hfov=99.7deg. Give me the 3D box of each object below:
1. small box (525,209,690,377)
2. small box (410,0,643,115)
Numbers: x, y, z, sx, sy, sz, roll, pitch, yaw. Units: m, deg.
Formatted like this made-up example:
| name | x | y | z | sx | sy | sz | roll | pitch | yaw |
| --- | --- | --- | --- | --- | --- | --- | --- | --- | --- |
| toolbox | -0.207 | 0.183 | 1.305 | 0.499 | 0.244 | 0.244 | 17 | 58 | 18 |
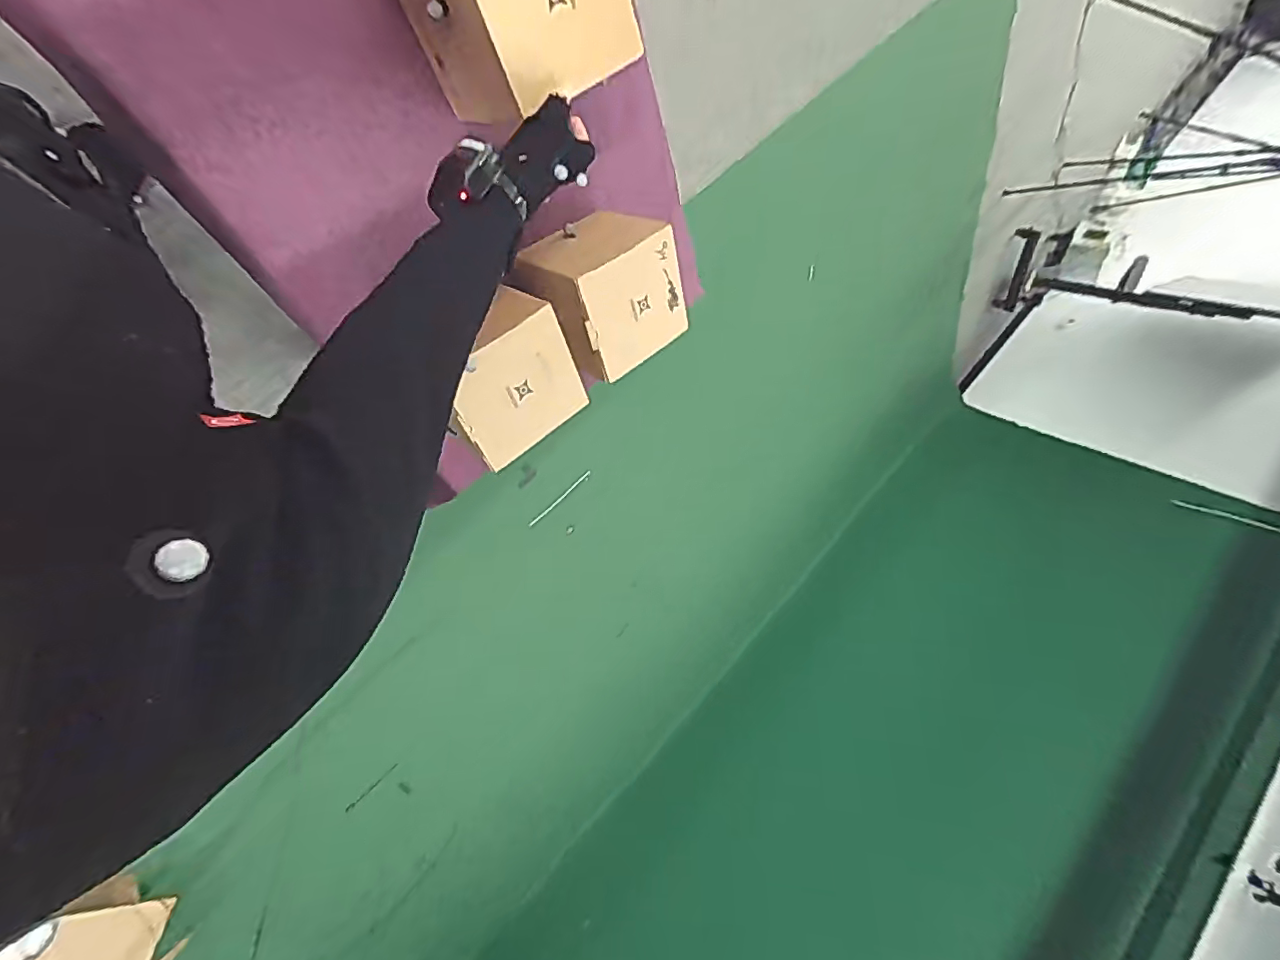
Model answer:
| name | x | y | z | sx | sy | sz | roll | pitch | yaw |
| --- | --- | --- | --- | --- | --- | --- | --- | --- | --- |
| small box | -0.052 | -0.287 | 0.815 | 0.179 | 0.176 | 0.168 | -38 | 139 | -21 |
| small box | -0.131 | -0.514 | 0.575 | 0.179 | 0.176 | 0.168 | -44 | 140 | -16 |
